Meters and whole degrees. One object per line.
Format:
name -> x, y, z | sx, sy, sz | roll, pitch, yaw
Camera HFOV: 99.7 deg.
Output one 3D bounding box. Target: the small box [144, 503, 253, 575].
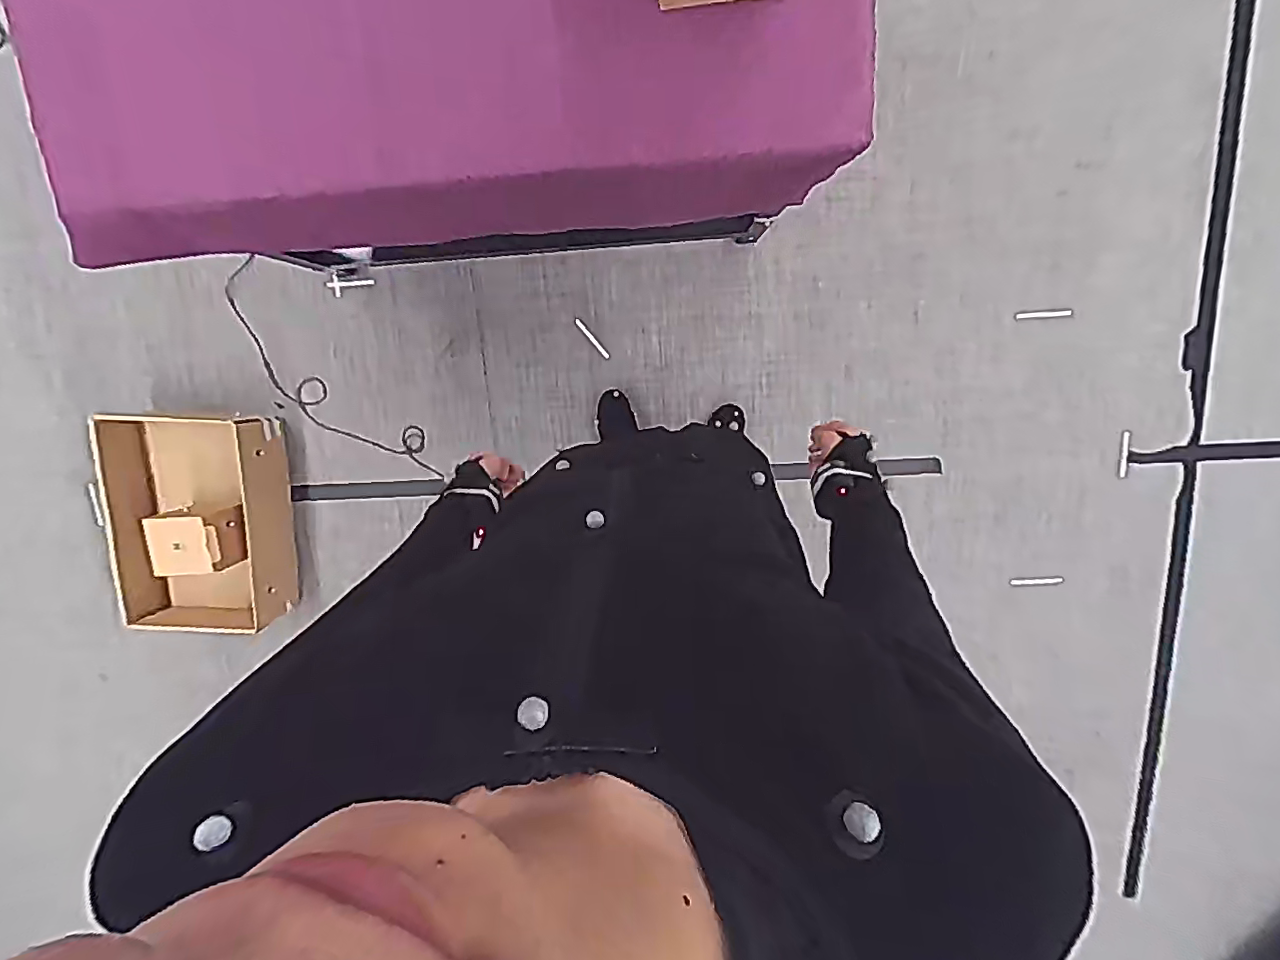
small box -> -1.253, 0.163, 1.554 | 0.179, 0.176, 0.168 | -3, 100, 2
